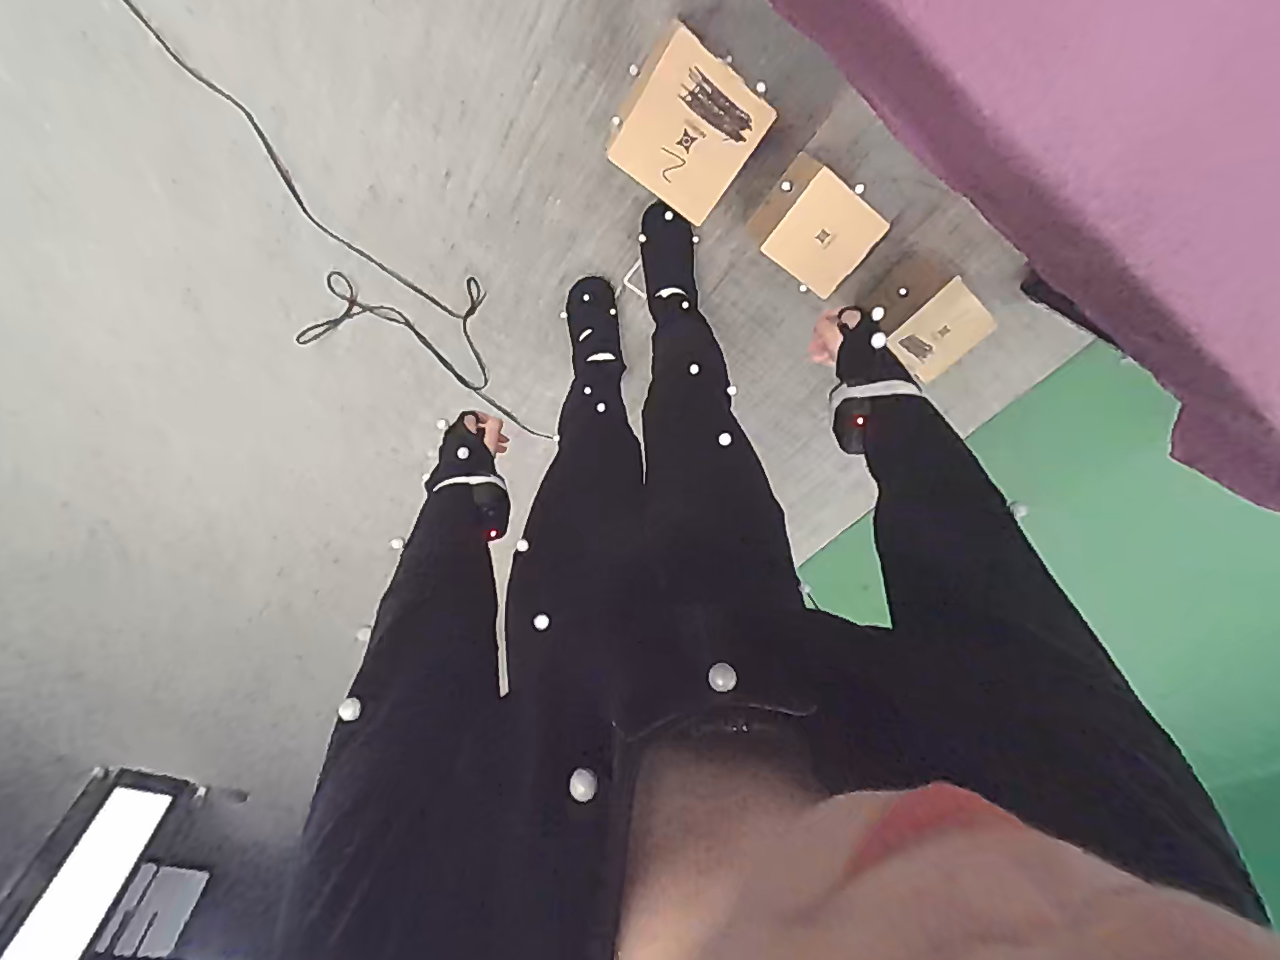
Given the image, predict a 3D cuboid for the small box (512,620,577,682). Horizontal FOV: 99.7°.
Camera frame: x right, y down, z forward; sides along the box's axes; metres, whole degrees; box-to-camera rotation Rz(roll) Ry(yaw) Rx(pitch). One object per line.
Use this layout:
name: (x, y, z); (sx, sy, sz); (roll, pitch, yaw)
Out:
small box: (-0.339, 0.630, 1.940); (0.168, 0.176, 0.179); (28, 124, -21)

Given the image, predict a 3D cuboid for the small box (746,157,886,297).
small box: (0.328, -0.494, 1.046); (0.179, 0.176, 0.168); (27, 124, -21)
